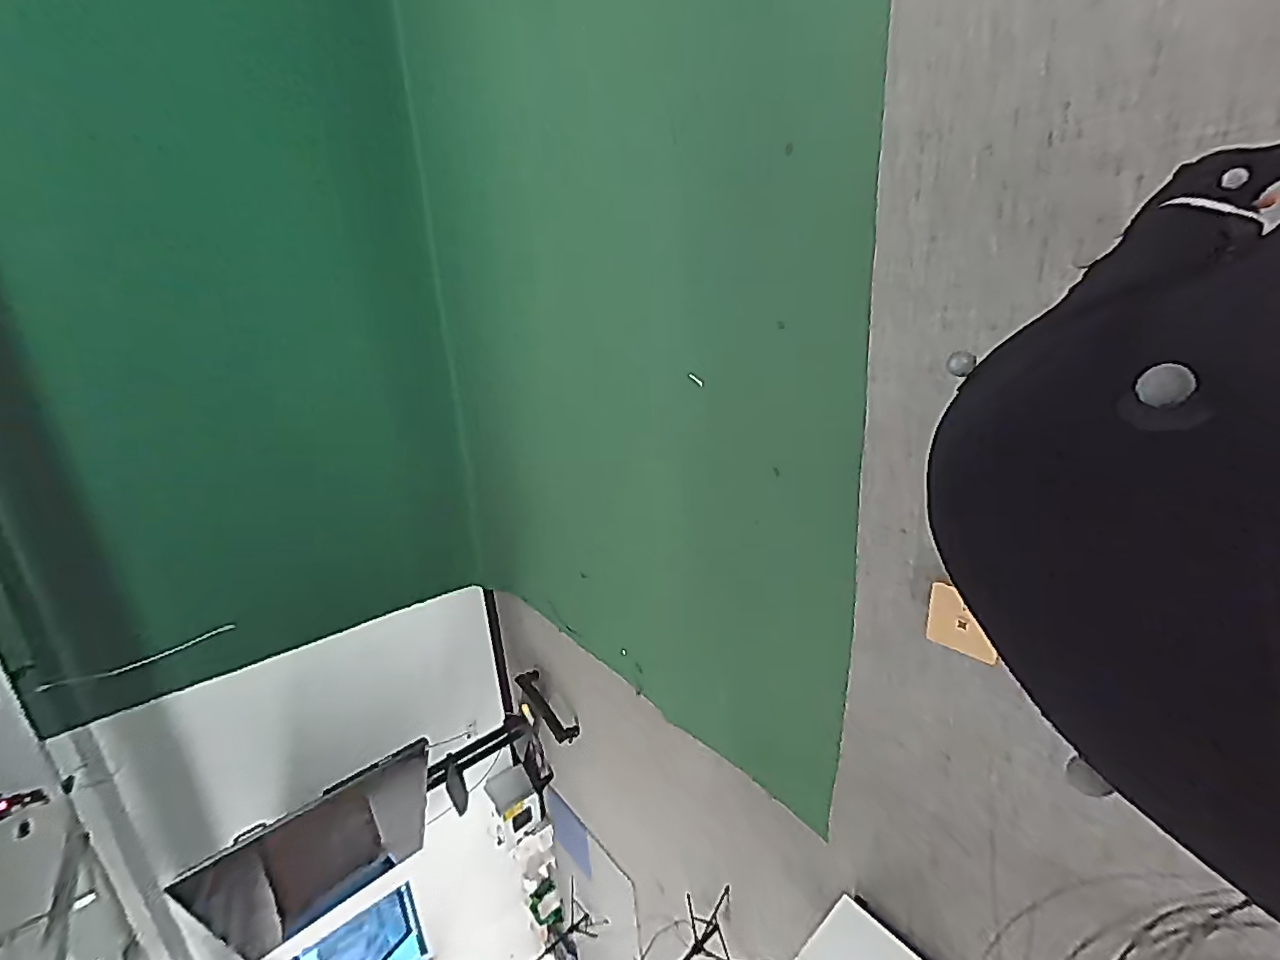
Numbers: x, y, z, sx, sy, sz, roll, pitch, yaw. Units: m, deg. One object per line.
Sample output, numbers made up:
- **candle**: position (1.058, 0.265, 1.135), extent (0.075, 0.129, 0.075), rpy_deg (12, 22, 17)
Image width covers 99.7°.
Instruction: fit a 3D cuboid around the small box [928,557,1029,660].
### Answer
- **small box**: position (0.876, 0.325, 1.400), extent (0.168, 0.176, 0.179), rpy_deg (18, 117, 47)
